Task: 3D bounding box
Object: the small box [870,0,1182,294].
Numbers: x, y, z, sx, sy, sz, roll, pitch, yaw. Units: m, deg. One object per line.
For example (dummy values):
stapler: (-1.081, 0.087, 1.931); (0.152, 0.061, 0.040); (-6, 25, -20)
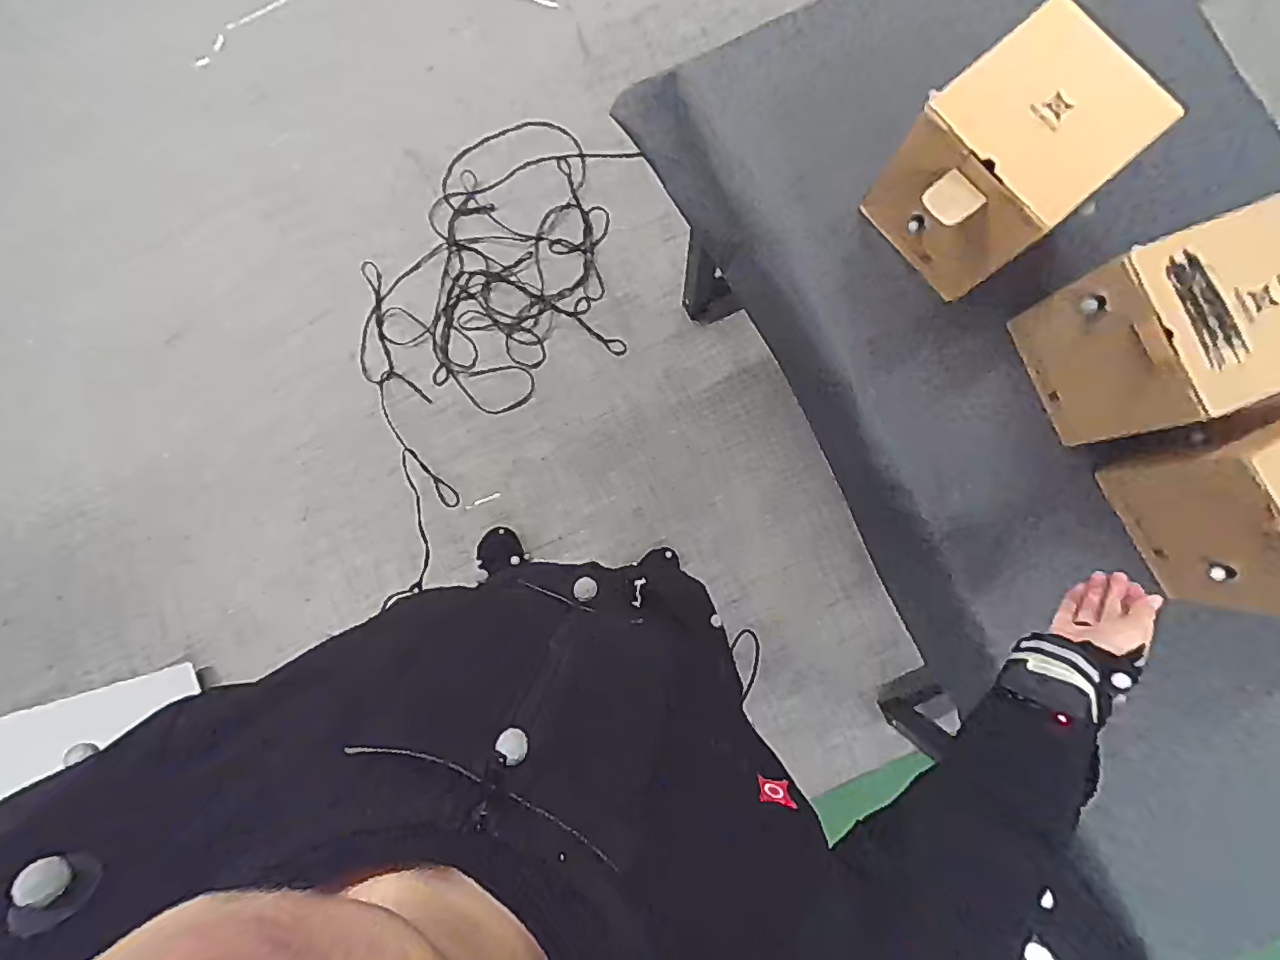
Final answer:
small box: (0.389, -0.340, 0.583); (0.179, 0.176, 0.168); (-41, 86, -2)
